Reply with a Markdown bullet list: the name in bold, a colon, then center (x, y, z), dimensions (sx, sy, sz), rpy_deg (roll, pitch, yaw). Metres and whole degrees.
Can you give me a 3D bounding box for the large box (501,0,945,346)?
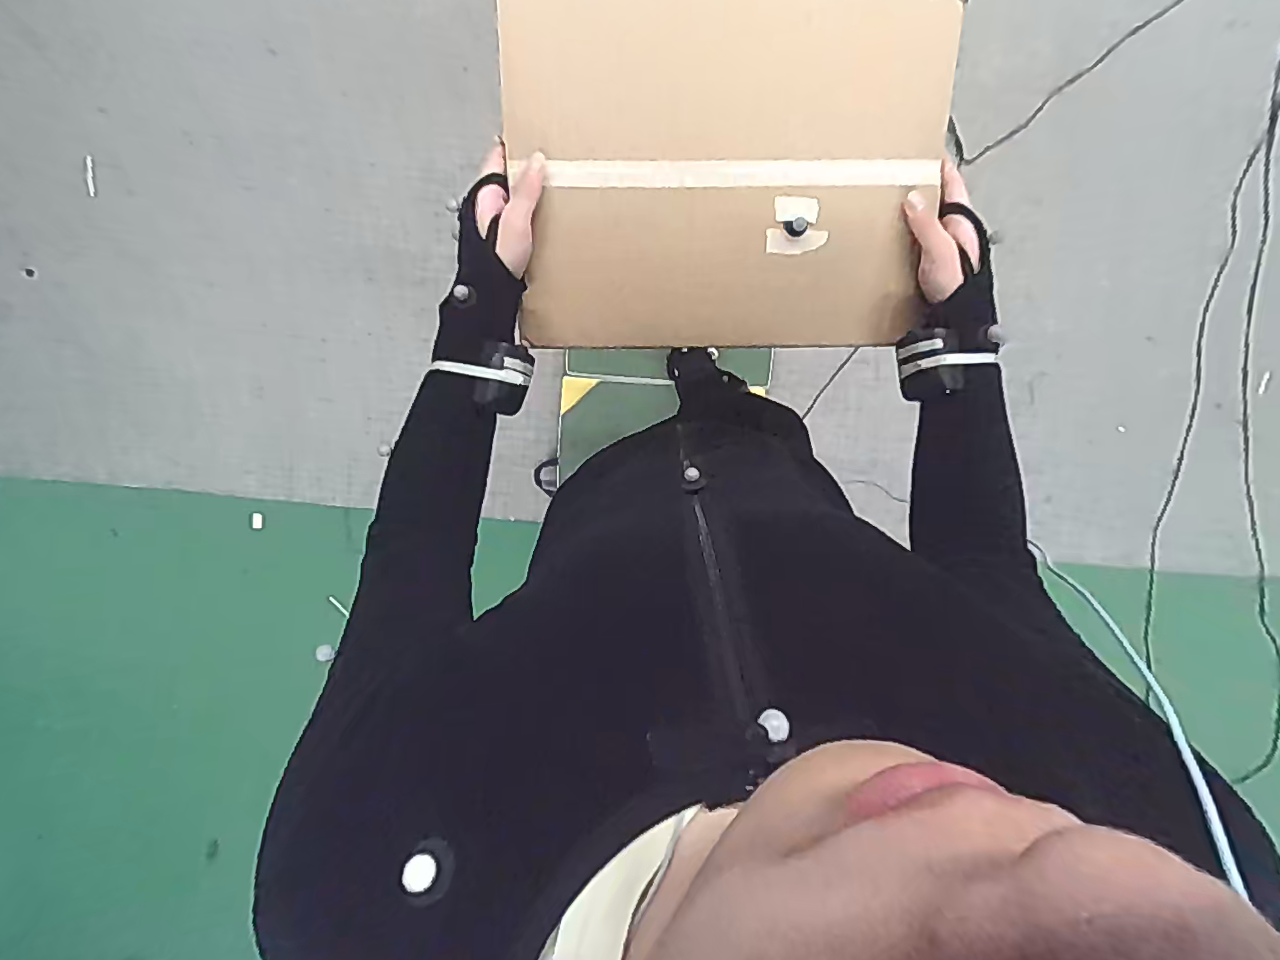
- **large box**: center (0.071, -0.334, 0.659), dimensions (0.408, 0.320, 0.320), rpy_deg (-2, 107, -3)
